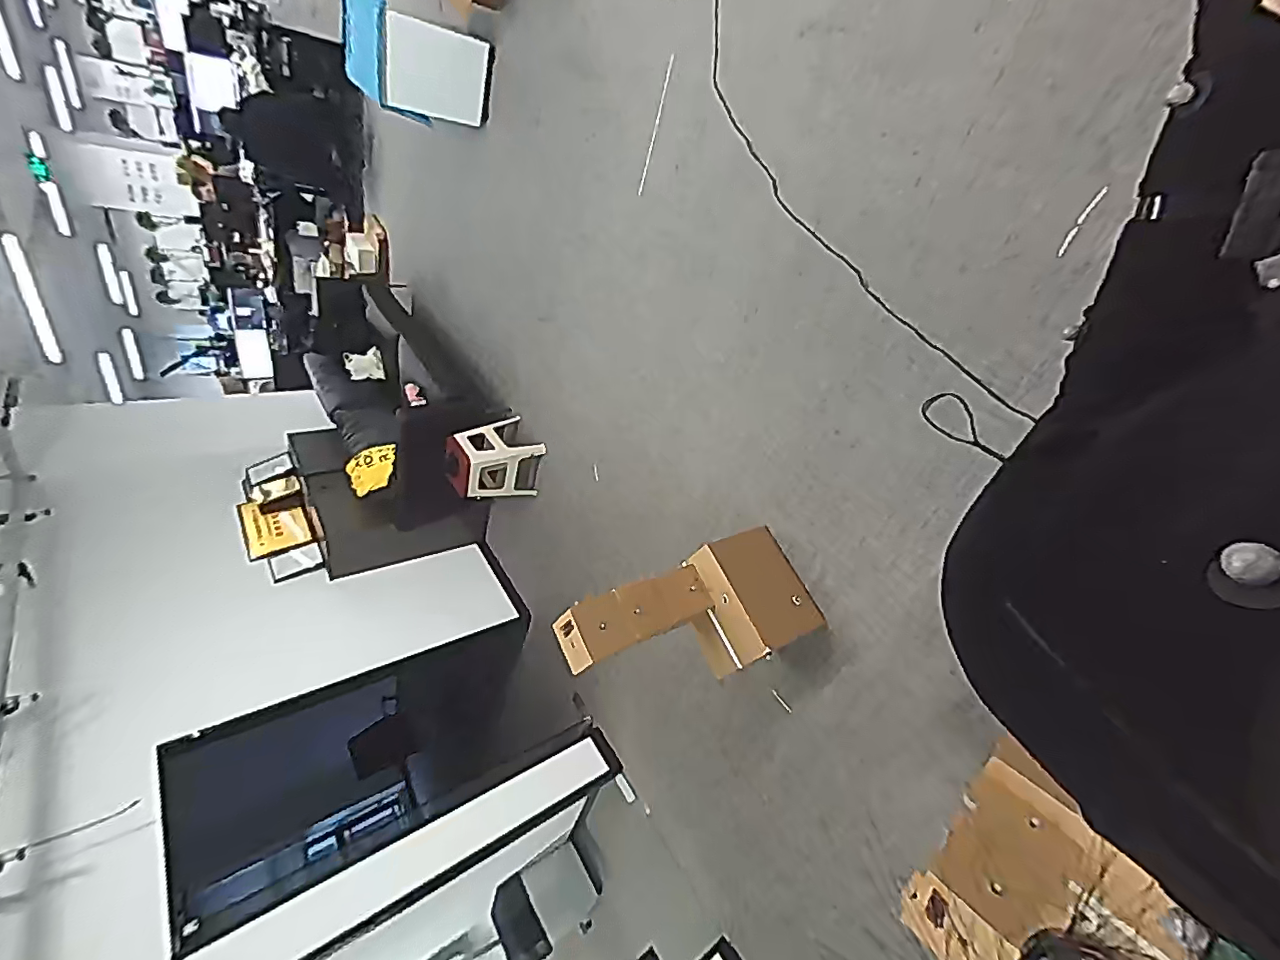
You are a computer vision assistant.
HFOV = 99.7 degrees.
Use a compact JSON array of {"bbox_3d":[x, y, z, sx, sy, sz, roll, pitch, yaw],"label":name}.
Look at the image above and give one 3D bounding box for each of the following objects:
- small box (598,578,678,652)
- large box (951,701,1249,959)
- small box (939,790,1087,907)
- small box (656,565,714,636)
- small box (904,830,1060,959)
[{"bbox_3d":[-0.006,0.439,1.789,0.179,0.176,0.168,62,142,19],"label":"small box"},{"bbox_3d":[1.019,0.799,1.231,0.408,0.320,0.320,33,125,42],"label":"large box"},{"bbox_3d":[0.778,0.789,1.133,0.179,0.176,0.168,39,128,40],"label":"small box"},{"bbox_3d":[0.127,0.417,1.880,0.168,0.176,0.179,62,142,20],"label":"small box"},{"bbox_3d":[0.650,0.815,1.033,0.179,0.176,0.168,33,124,42],"label":"small box"}]
